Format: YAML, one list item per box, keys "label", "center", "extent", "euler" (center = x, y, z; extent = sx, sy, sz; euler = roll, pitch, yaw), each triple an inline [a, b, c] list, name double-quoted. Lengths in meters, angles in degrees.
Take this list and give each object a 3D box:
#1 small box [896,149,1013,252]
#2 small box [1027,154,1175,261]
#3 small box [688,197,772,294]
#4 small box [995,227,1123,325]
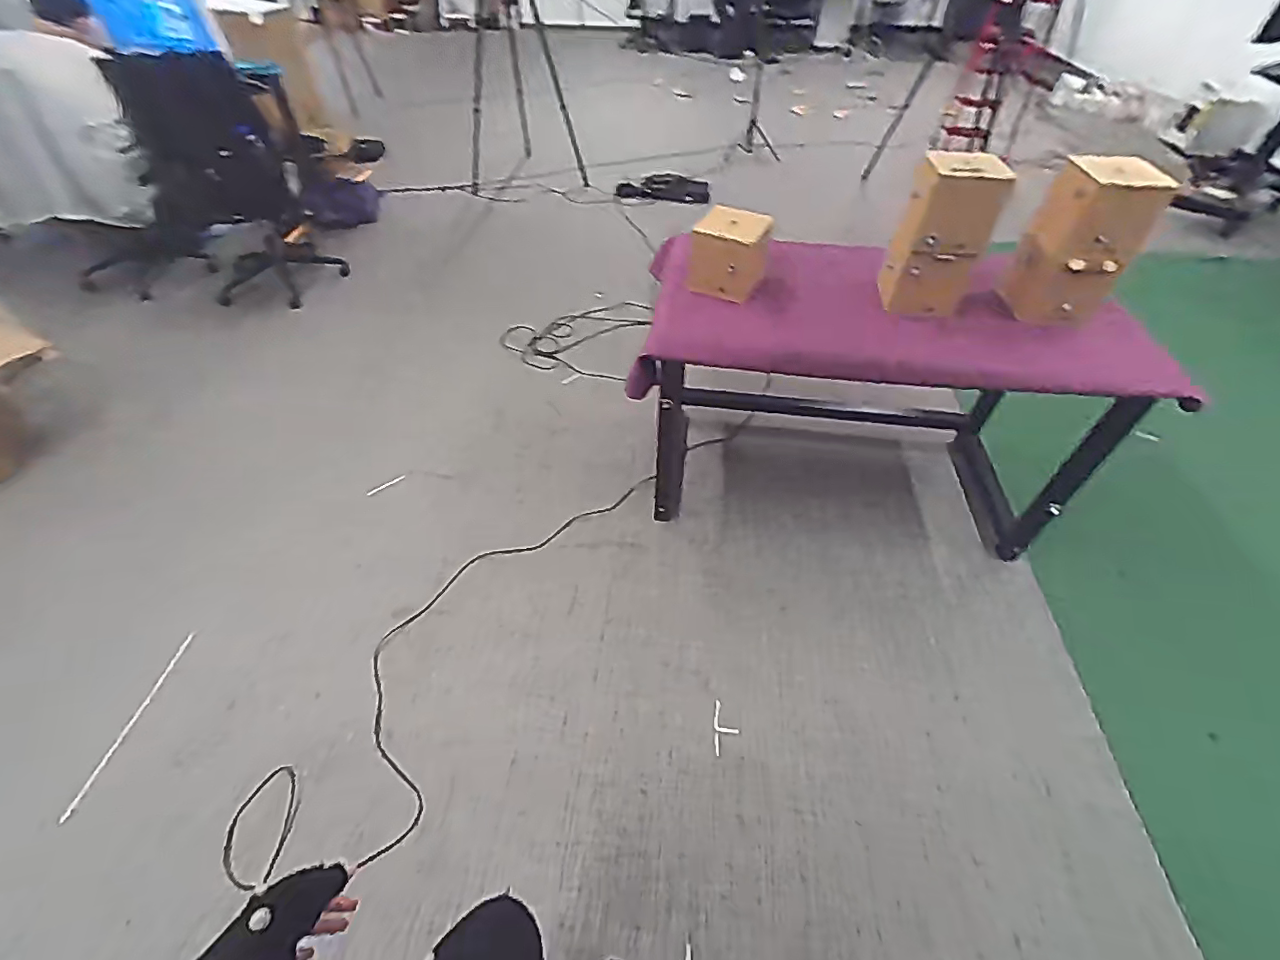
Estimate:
- label: "small box"
  center: [0.721, -0.651, 1.263]
  extent: [0.168, 0.176, 0.179]
  euler: [6, 47, 5]
- label: "small box"
  center: [1.044, -0.628, 1.247]
  extent: [0.168, 0.176, 0.179]
  euler: [4, 49, 3]
- label: "small box"
  center: [0.232, -0.618, 1.429]
  extent: [0.168, 0.176, 0.179]
  euler: [21, 51, 17]
- label: "small box"
  center: [1.040, -0.515, 1.365]
  extent: [0.168, 0.176, 0.179]
  euler: [3, 48, 4]
